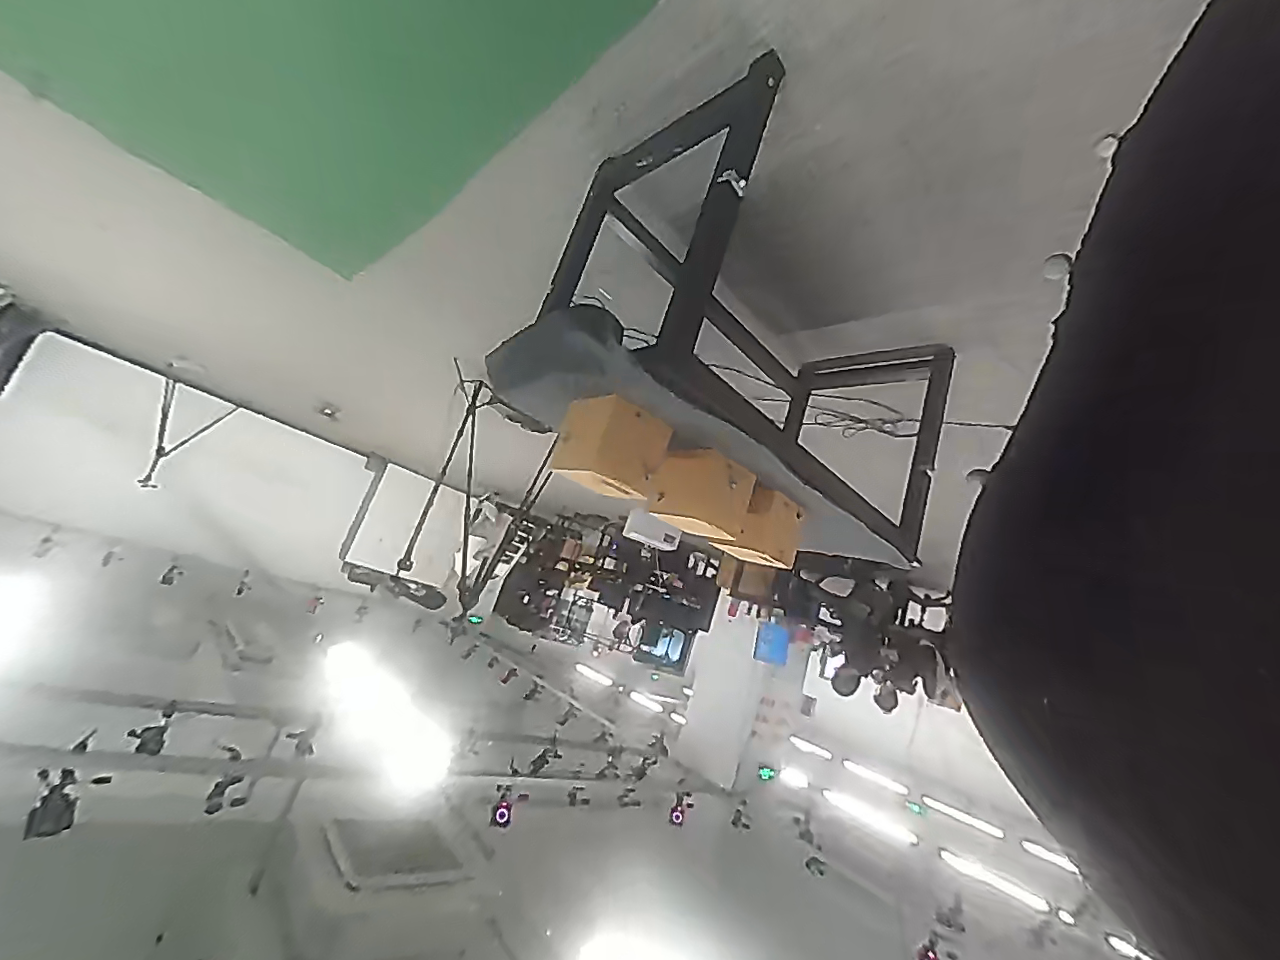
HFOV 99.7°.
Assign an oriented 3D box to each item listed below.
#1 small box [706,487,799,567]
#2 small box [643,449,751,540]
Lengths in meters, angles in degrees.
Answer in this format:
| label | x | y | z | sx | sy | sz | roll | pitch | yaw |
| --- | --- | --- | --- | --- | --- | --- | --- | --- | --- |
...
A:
| label | x | y | z | sx | sy | sz | roll | pitch | yaw |
| --- | --- | --- | --- | --- | --- | --- | --- | --- | --- |
| small box | 0.310 | 0.120 | 1.457 | 0.168 | 0.176 | 0.179 | 29 | 164 | -39 |
| small box | 0.141 | 0.031 | 1.307 | 0.168 | 0.176 | 0.179 | 28 | 164 | -38 |
